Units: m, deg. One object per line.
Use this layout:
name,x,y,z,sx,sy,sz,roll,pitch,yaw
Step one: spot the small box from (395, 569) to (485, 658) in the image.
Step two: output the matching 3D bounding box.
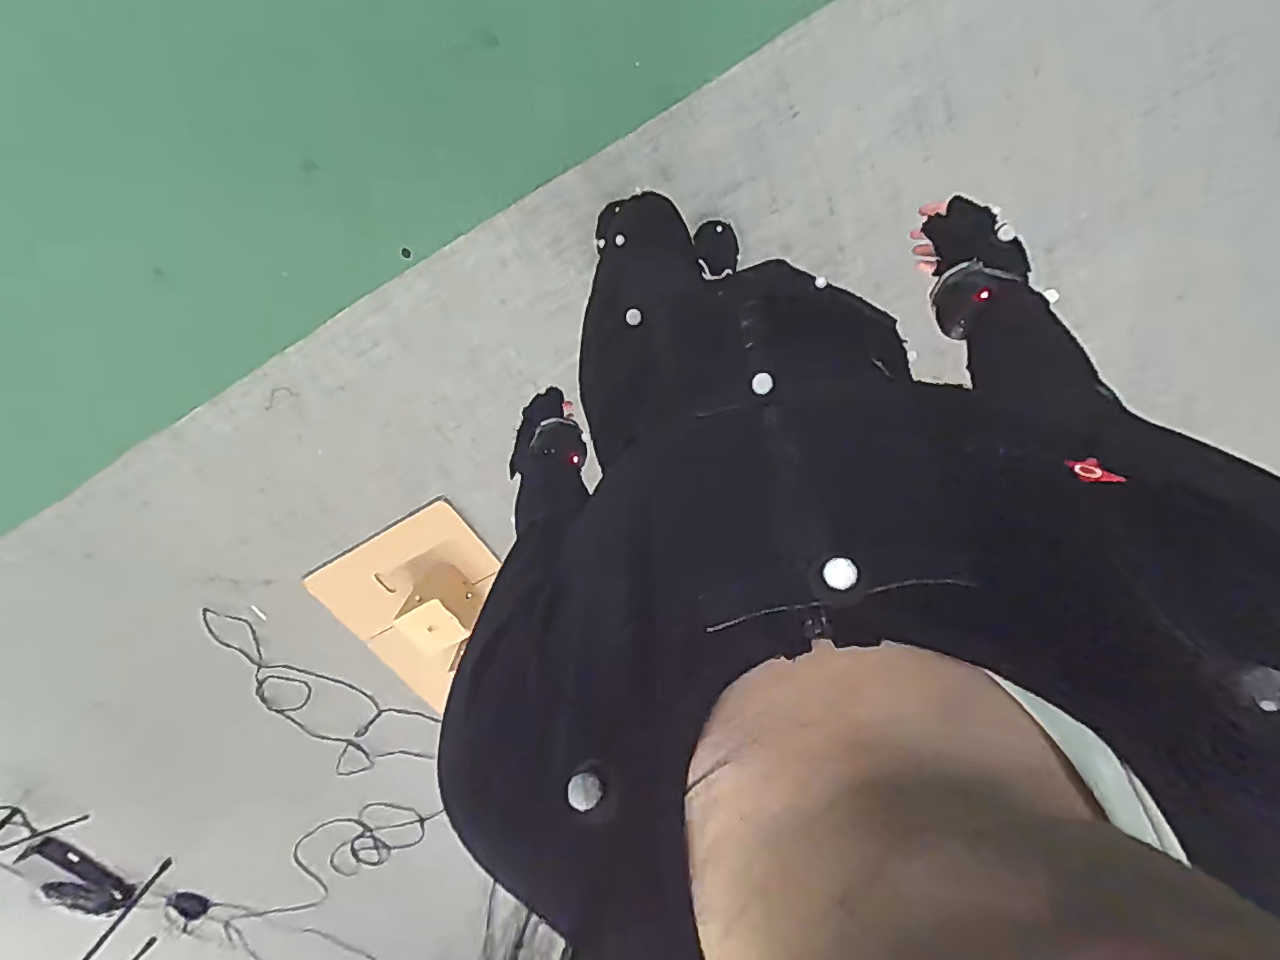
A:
small box,-0.612,0.410,1.680,0.179,0.176,0.168,-30,111,13
